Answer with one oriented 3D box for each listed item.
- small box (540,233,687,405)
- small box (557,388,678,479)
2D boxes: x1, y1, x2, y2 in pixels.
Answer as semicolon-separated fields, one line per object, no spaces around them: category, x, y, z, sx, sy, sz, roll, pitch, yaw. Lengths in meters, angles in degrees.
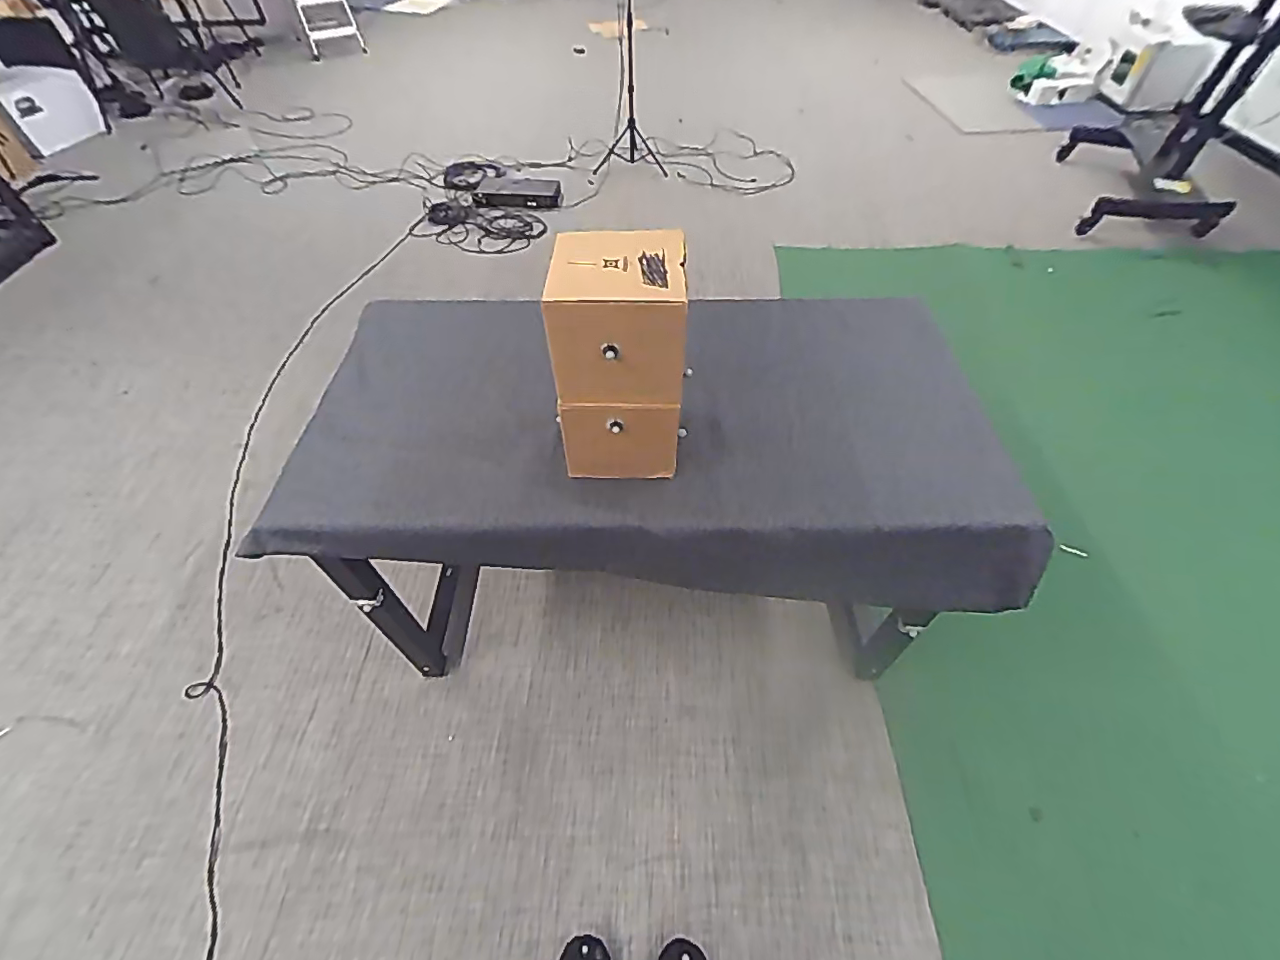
small box;-0.028;-0.218;0.749;0.179;0.176;0.168;1;52;3
small box;-0.030;-0.115;0.877;0.179;0.176;0.168;1;53;0
